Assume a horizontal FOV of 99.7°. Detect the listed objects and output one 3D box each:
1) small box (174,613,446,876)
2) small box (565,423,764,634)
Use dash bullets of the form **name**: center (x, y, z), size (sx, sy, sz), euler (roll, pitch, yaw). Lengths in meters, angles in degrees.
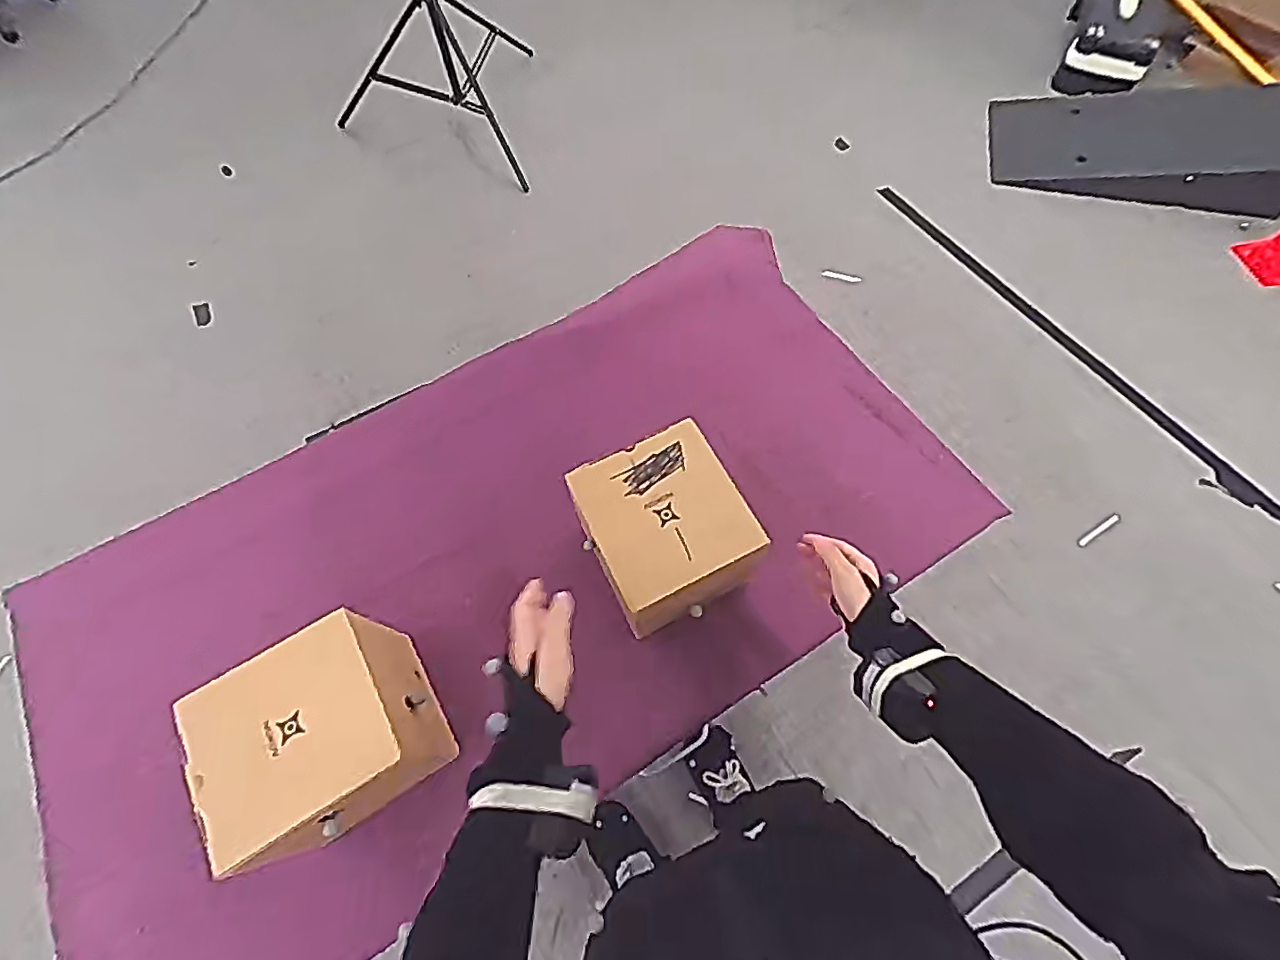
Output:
- **small box**: center (-0.332, 0.270, 0.582), size (0.179, 0.176, 0.168), euler (-31, 68, -12)
- **small box**: center (0.024, 0.066, 0.663), size (0.168, 0.176, 0.179), euler (-25, 68, -9)
